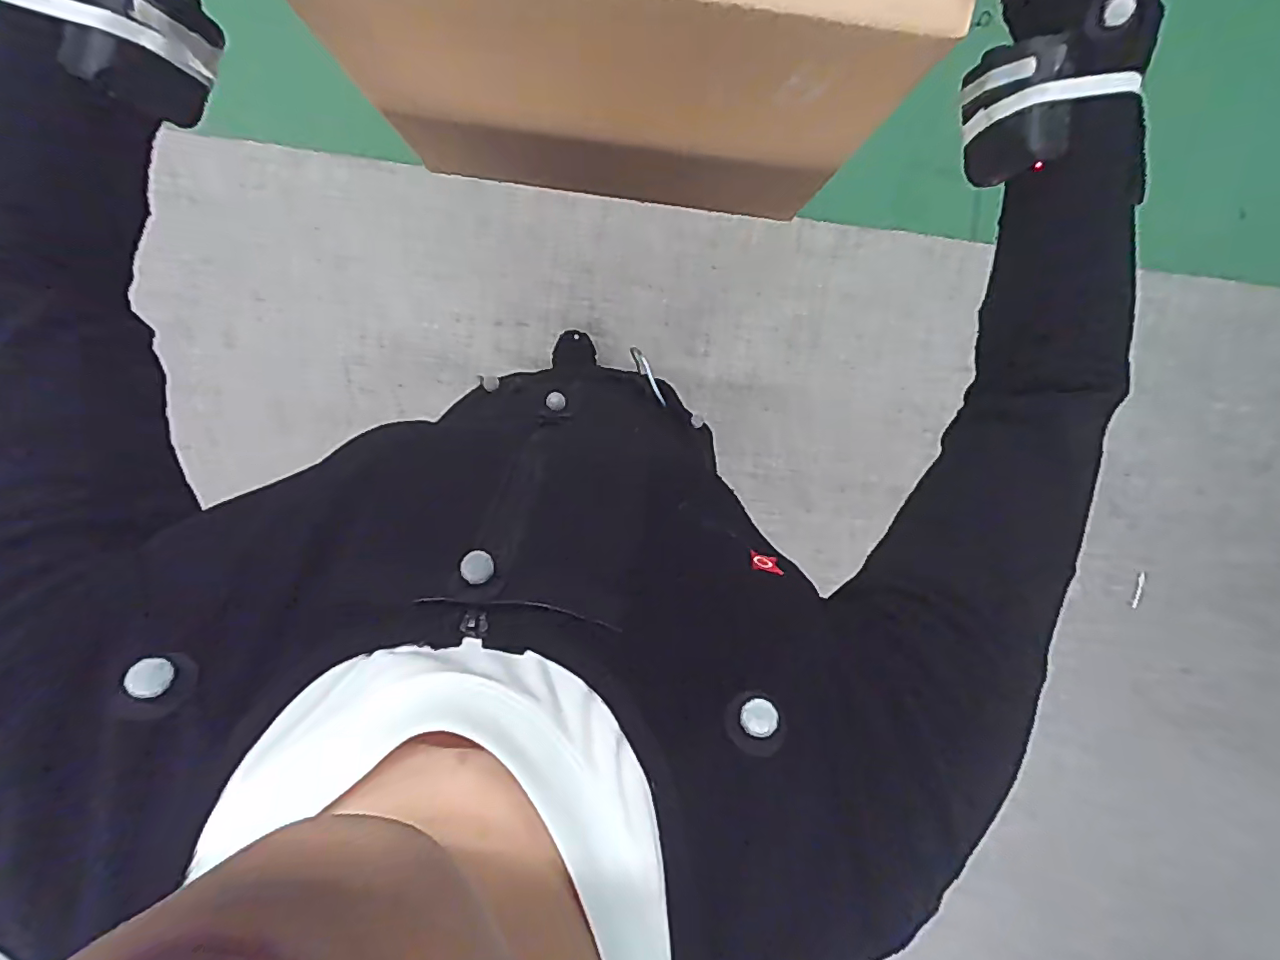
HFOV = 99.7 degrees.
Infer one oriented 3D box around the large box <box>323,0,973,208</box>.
[{"bbox_3d":[-0.001,-0.448,0.430,0.408,0.320,0.320,5,99,-4],"label":"large box"}]
